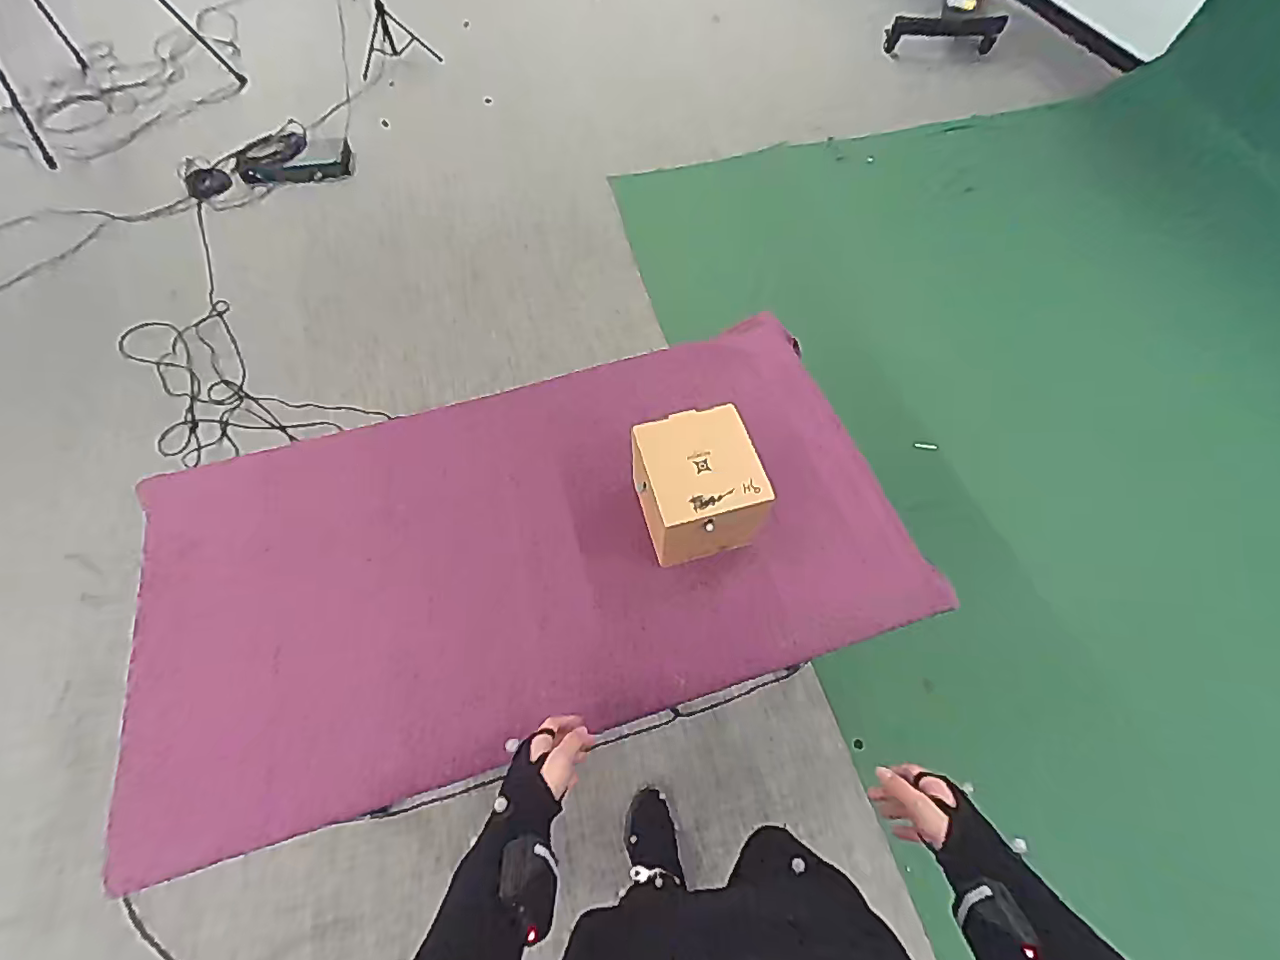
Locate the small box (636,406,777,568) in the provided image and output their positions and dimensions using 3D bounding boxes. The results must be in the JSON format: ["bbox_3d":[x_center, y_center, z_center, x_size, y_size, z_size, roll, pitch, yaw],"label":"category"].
[{"bbox_3d":[0.090,0.014,0.845,0.168,0.176,0.179,-13,61,-7],"label":"small box"}]
